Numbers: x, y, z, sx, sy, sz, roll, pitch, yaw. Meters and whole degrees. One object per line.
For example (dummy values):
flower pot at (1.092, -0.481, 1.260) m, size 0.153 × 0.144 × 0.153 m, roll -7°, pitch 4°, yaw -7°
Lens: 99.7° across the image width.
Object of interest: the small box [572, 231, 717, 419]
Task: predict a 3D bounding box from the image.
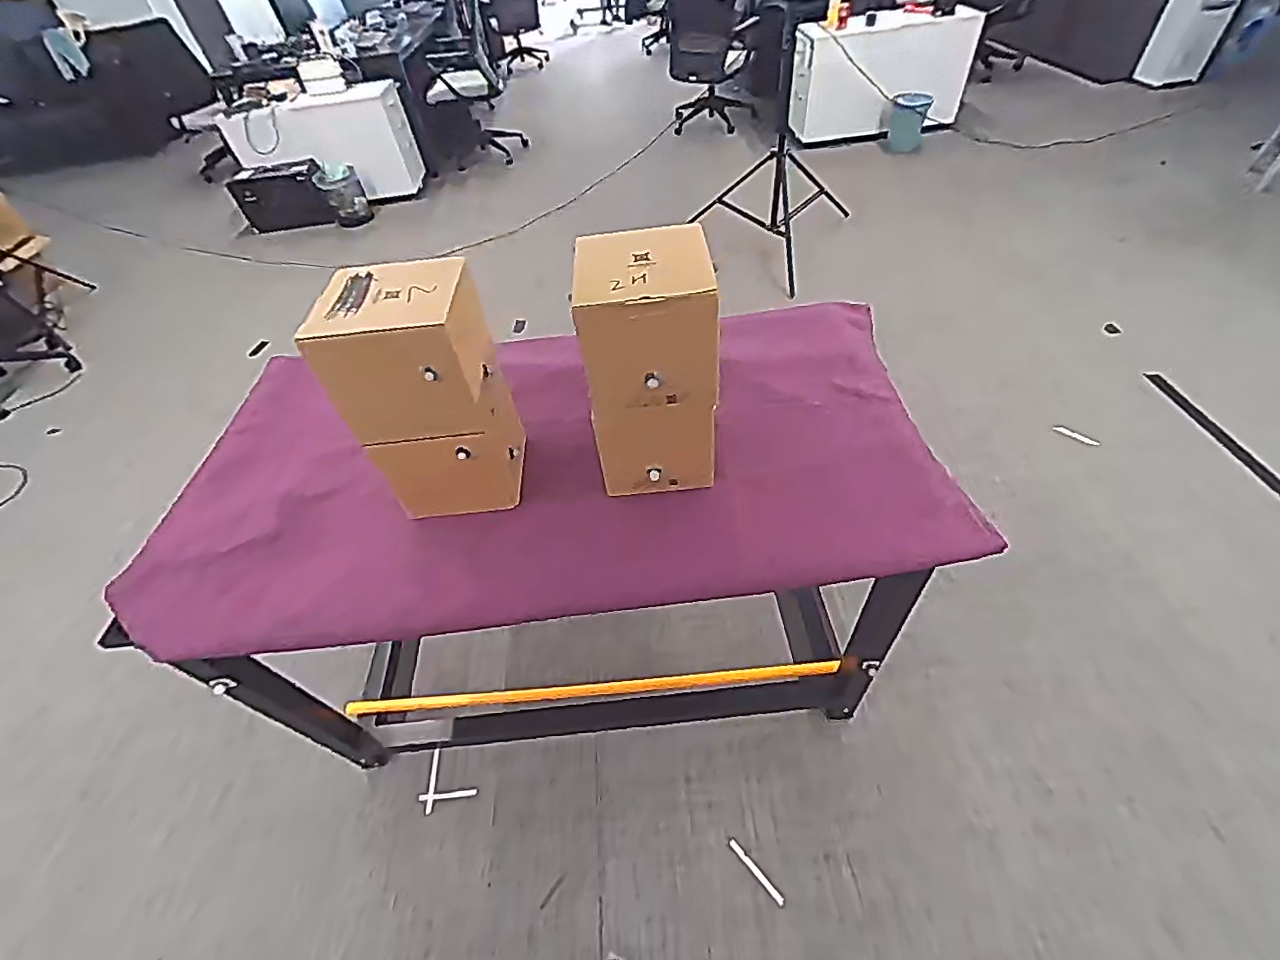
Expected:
small box at (0.009, -0.204, 0.718) m, size 0.168 × 0.176 × 0.179 m, roll -6°, pitch 48°, yaw 3°

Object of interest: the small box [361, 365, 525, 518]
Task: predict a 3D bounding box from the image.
small box at (-0.293, -0.055, 0.846) m, size 0.179 × 0.176 × 0.168 m, roll -6°, pitch 48°, yaw 1°

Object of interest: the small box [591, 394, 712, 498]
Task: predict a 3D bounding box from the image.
small box at (0.019, -0.094, 0.841) m, size 0.168 × 0.176 × 0.179 m, roll -5°, pitch 48°, yaw 3°
